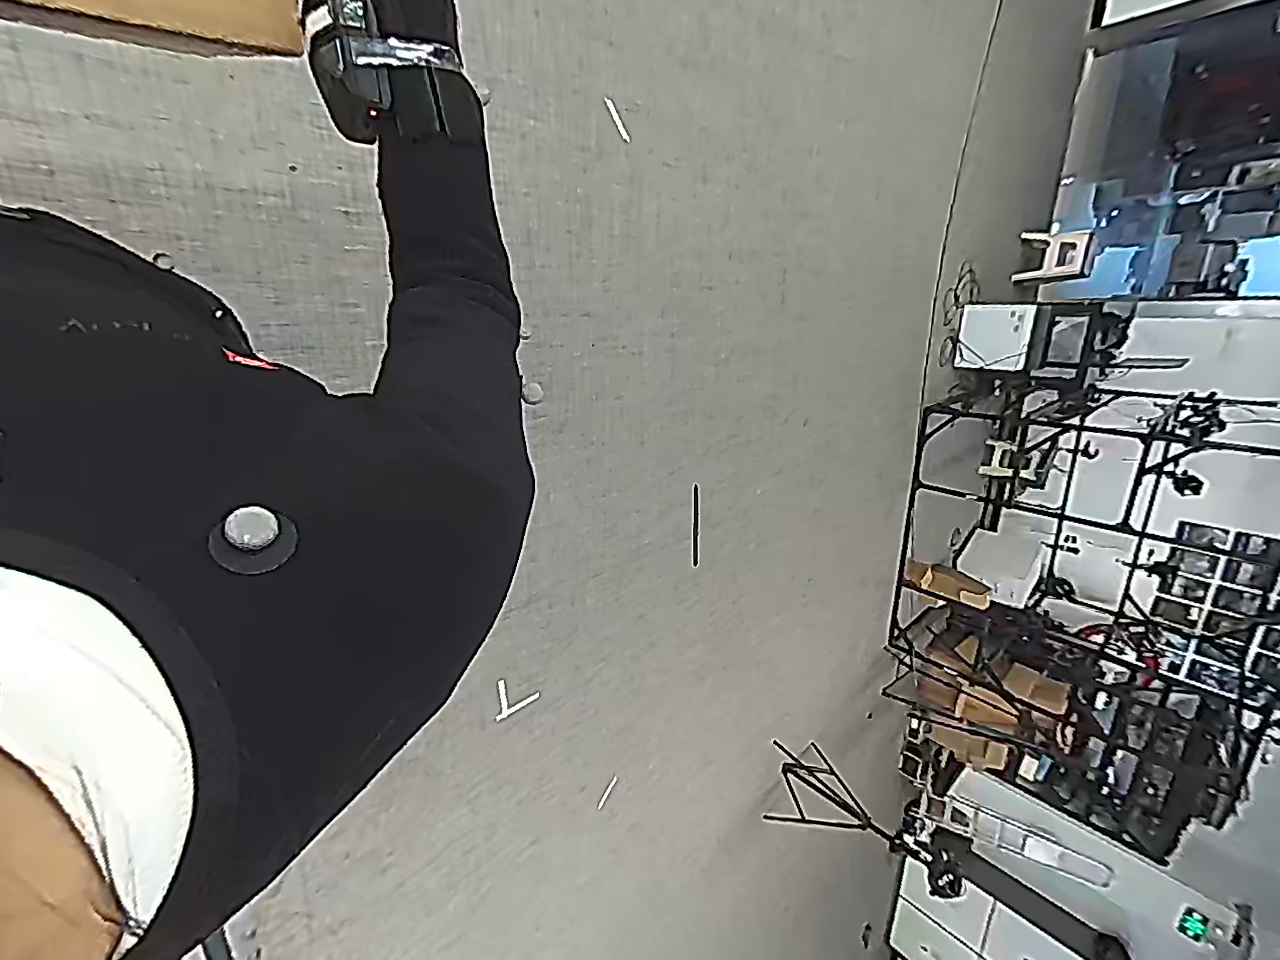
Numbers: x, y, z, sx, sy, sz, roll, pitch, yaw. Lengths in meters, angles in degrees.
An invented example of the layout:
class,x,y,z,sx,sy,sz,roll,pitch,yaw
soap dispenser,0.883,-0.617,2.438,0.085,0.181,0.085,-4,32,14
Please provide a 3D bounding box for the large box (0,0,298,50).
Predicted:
class,x,y,z,sx,sy,sz,roll,pitch,yaw
large box,-0.442,-0.413,0.229,0.408,0.320,0.320,-20,133,-38
